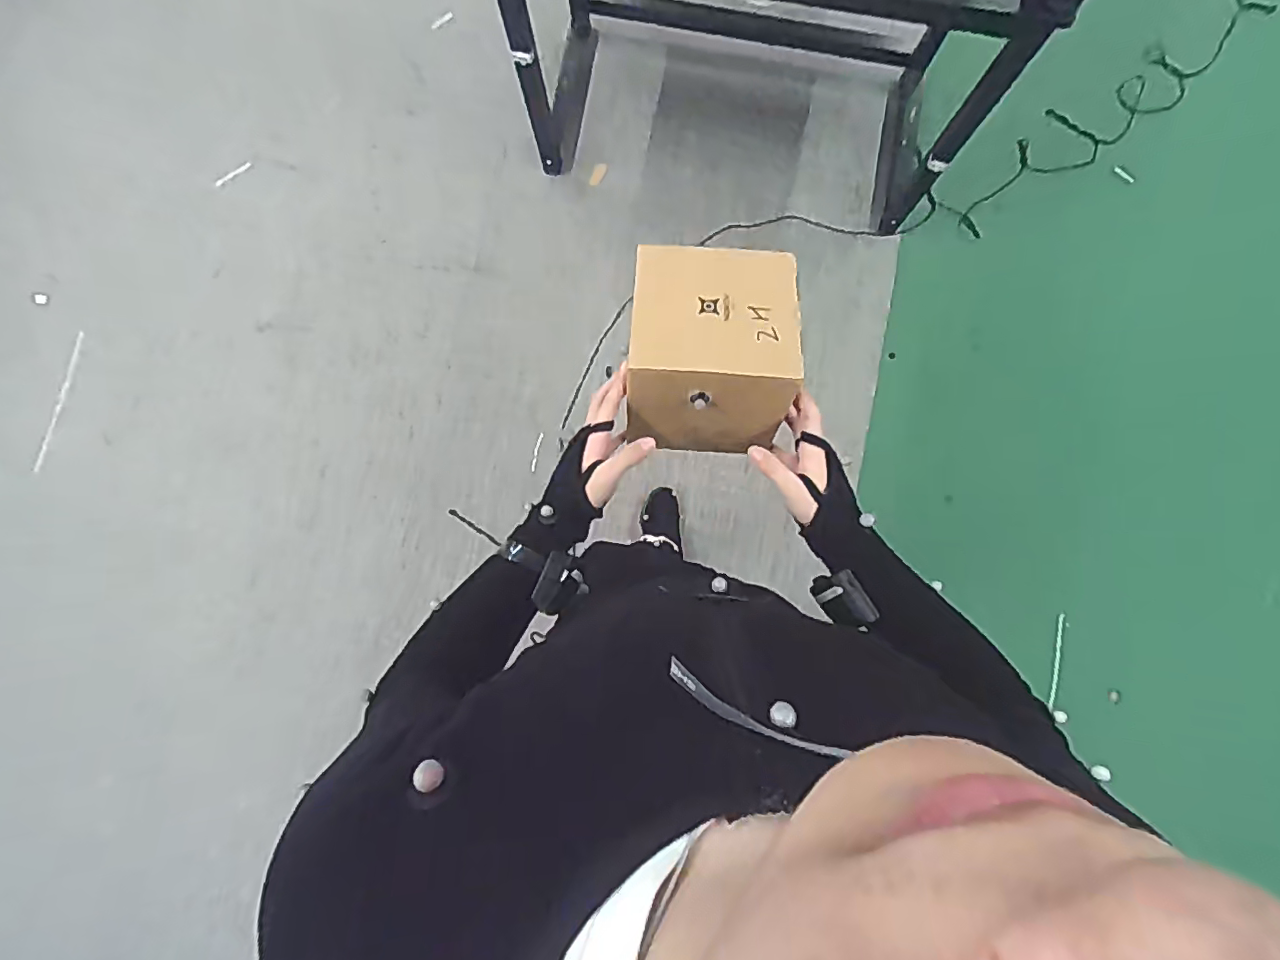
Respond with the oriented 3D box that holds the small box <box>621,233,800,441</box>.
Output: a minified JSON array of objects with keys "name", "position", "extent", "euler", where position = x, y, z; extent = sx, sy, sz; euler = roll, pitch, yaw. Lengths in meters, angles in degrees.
[{"name":"small box","position":[0.074,-0.157,0.627],"extent":[0.179,0.176,0.168],"euler":[4,66,1]}]
